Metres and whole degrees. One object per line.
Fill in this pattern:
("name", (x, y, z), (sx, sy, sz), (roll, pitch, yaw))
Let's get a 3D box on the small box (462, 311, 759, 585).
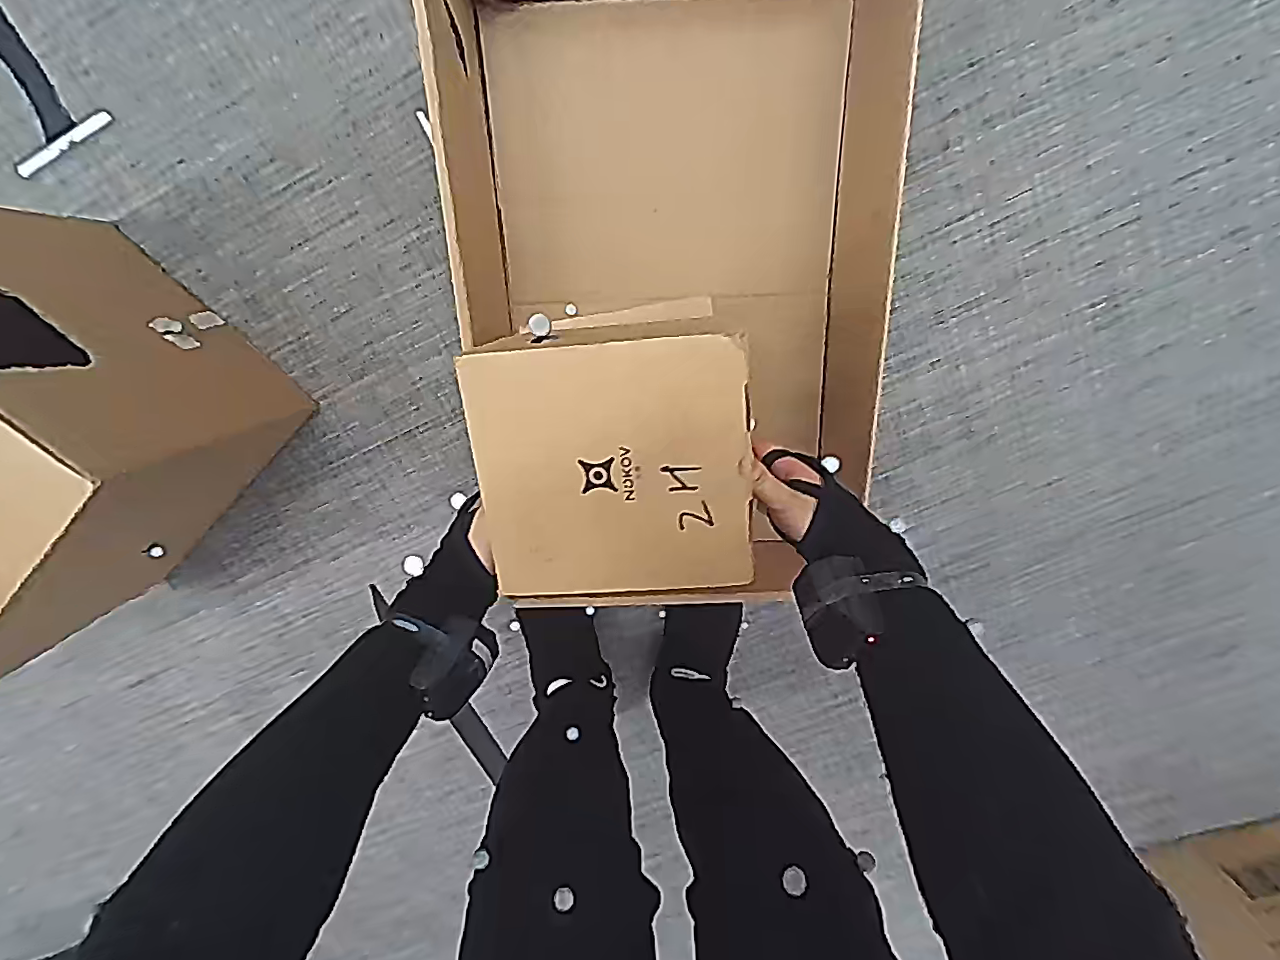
("small box", (-0.010, -0.036, 0.413), (0.179, 0.176, 0.168), (-5, 109, 4))
